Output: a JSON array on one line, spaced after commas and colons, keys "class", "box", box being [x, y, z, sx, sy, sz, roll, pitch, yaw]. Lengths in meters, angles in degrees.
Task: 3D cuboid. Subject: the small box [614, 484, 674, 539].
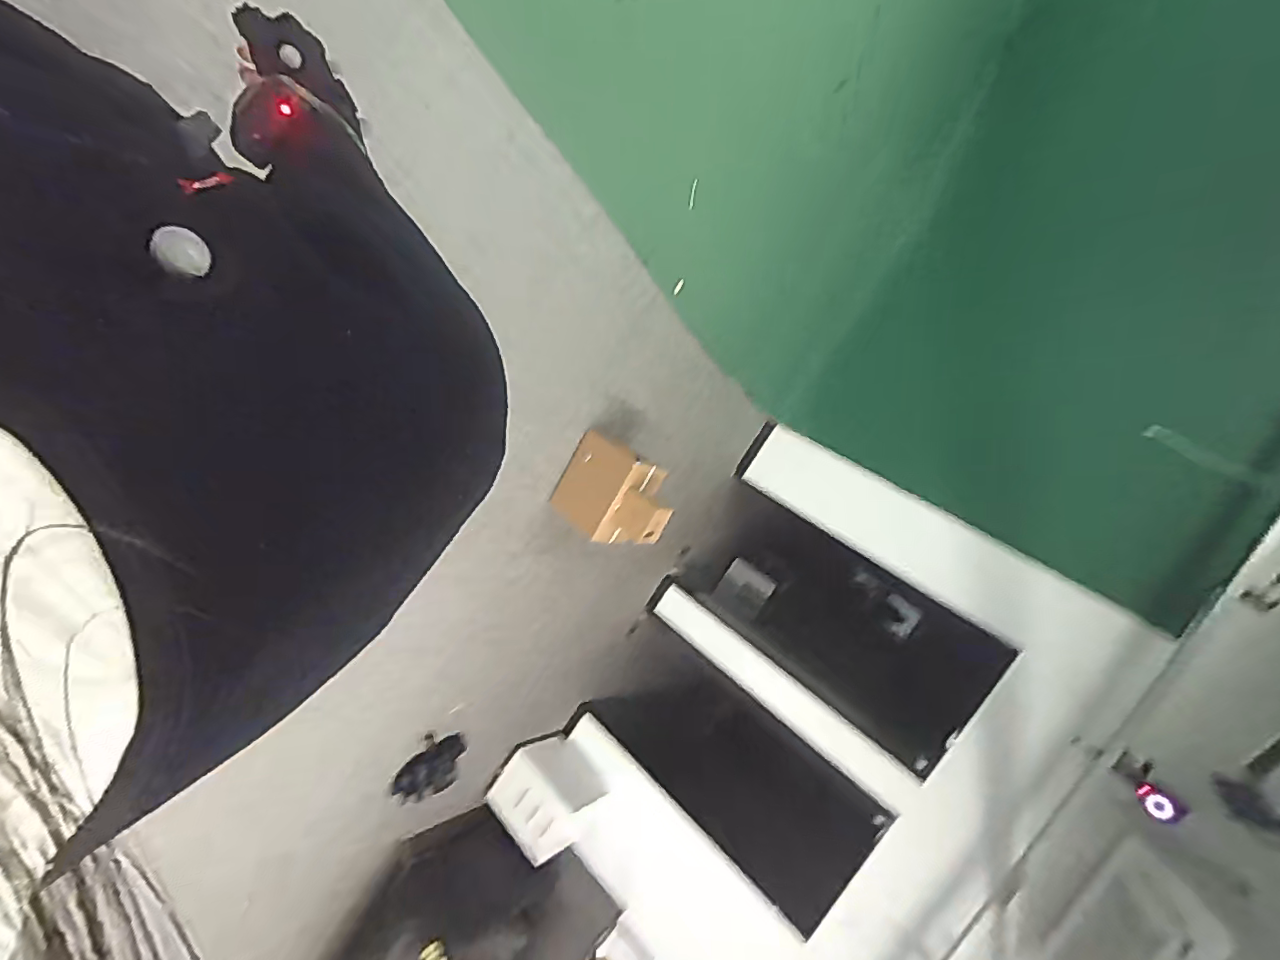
[{"class": "small box", "box": [0.012, 0.138, 2.381, 0.168, 0.176, 0.179, 3, 120, -57]}]
